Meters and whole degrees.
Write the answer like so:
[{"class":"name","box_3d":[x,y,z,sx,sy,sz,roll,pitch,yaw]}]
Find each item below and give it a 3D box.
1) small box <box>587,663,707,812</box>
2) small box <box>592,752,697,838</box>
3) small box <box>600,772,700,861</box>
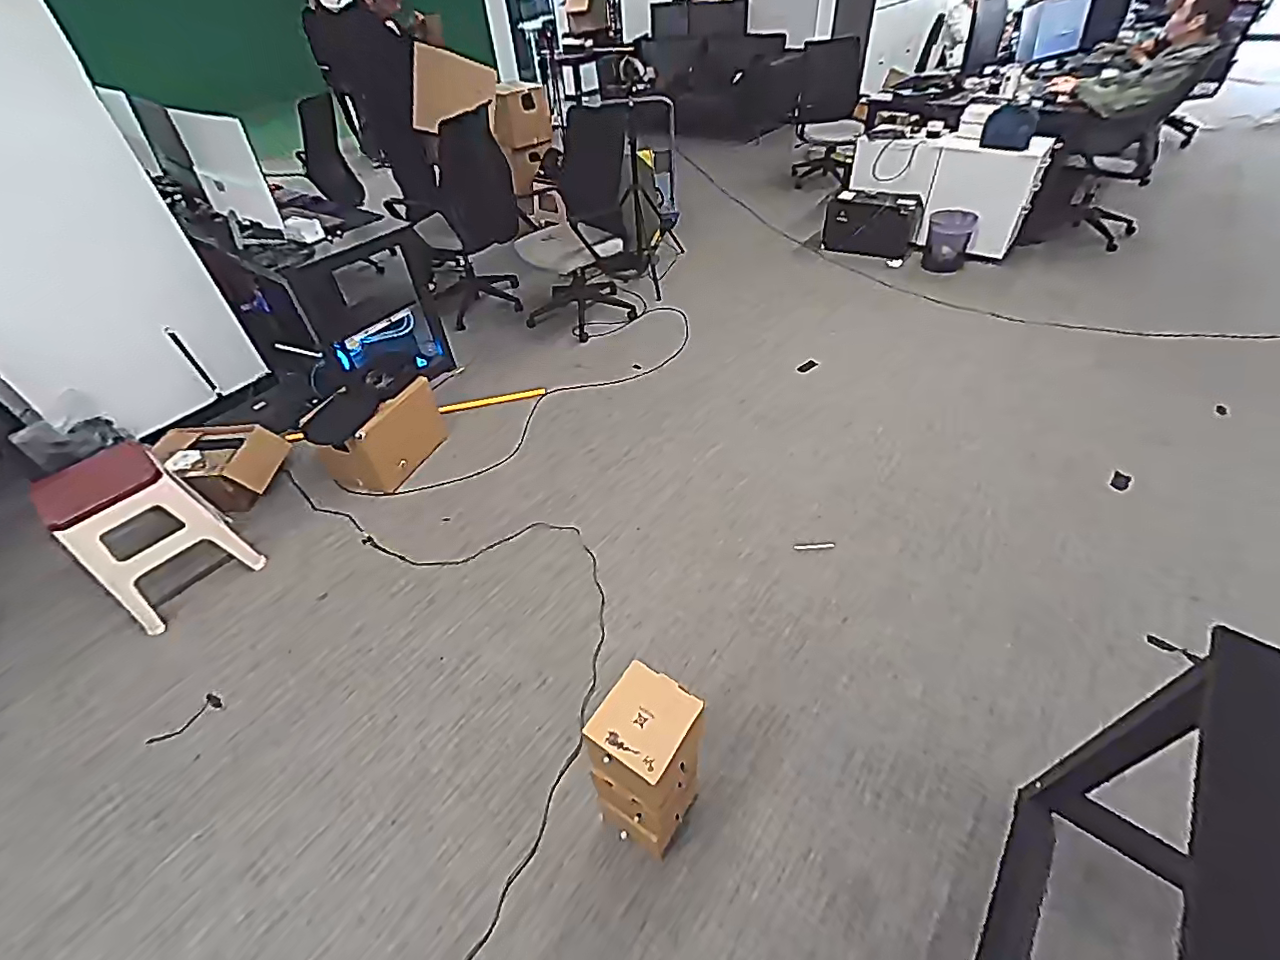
[{"class":"small box","box_3d":[0.016,0.506,1.066,0.168,0.176,0.179,24,50,27]},{"class":"small box","box_3d":[0.019,0.631,1.173,0.168,0.176,0.179,21,48,24]},{"class":"small box","box_3d":[0.027,0.753,1.281,0.168,0.176,0.179,23,51,27]}]
